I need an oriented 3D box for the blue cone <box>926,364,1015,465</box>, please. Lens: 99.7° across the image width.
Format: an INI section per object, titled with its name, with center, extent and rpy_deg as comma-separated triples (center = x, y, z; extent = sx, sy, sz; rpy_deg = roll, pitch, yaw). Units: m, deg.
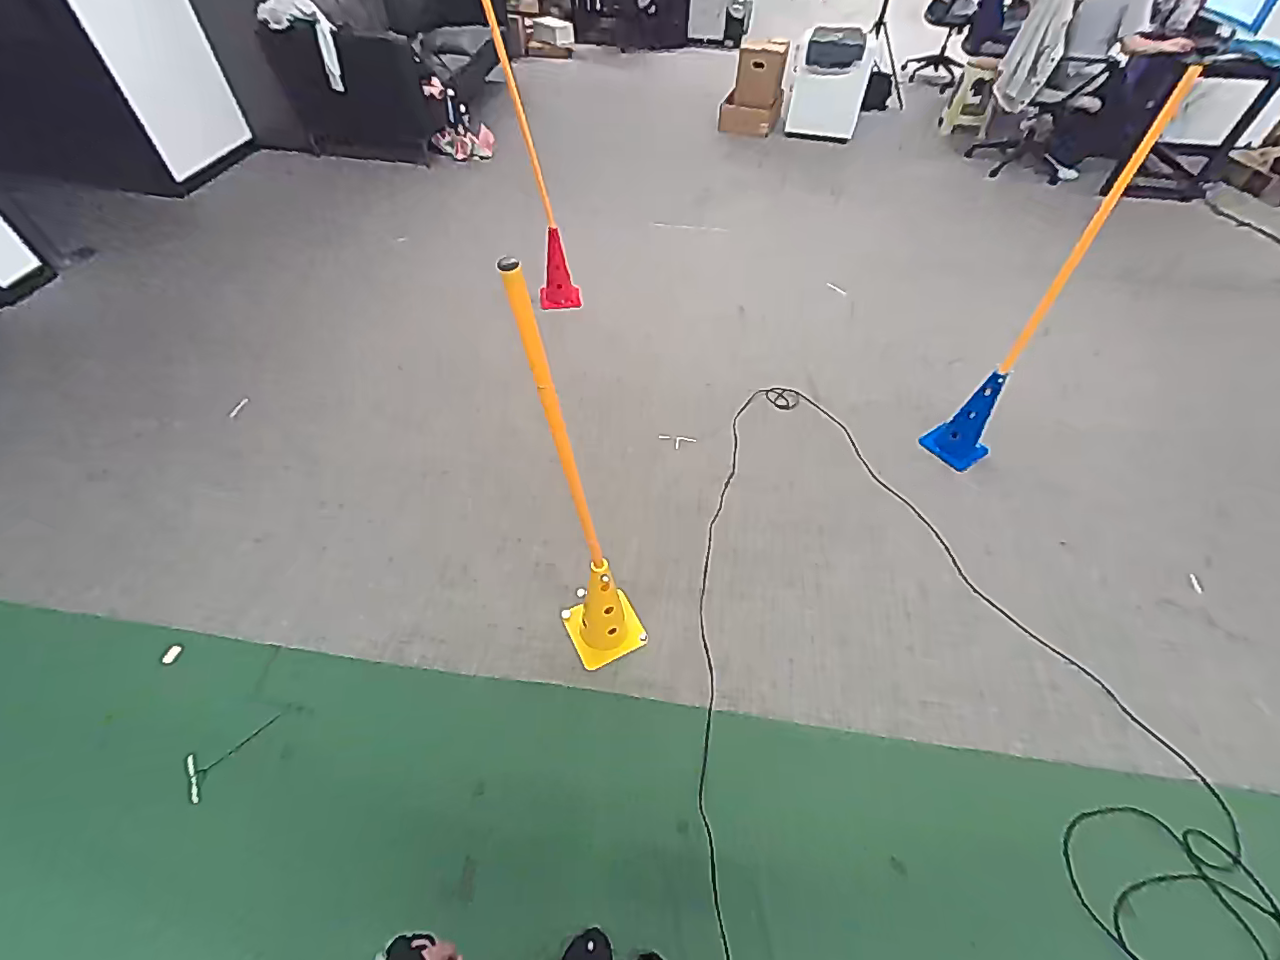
[blue cone]
center = 1.216, -0.256, 1.942
extent = 0.193, 0.380, 0.192
rpy_deg = -28, 55, -25
